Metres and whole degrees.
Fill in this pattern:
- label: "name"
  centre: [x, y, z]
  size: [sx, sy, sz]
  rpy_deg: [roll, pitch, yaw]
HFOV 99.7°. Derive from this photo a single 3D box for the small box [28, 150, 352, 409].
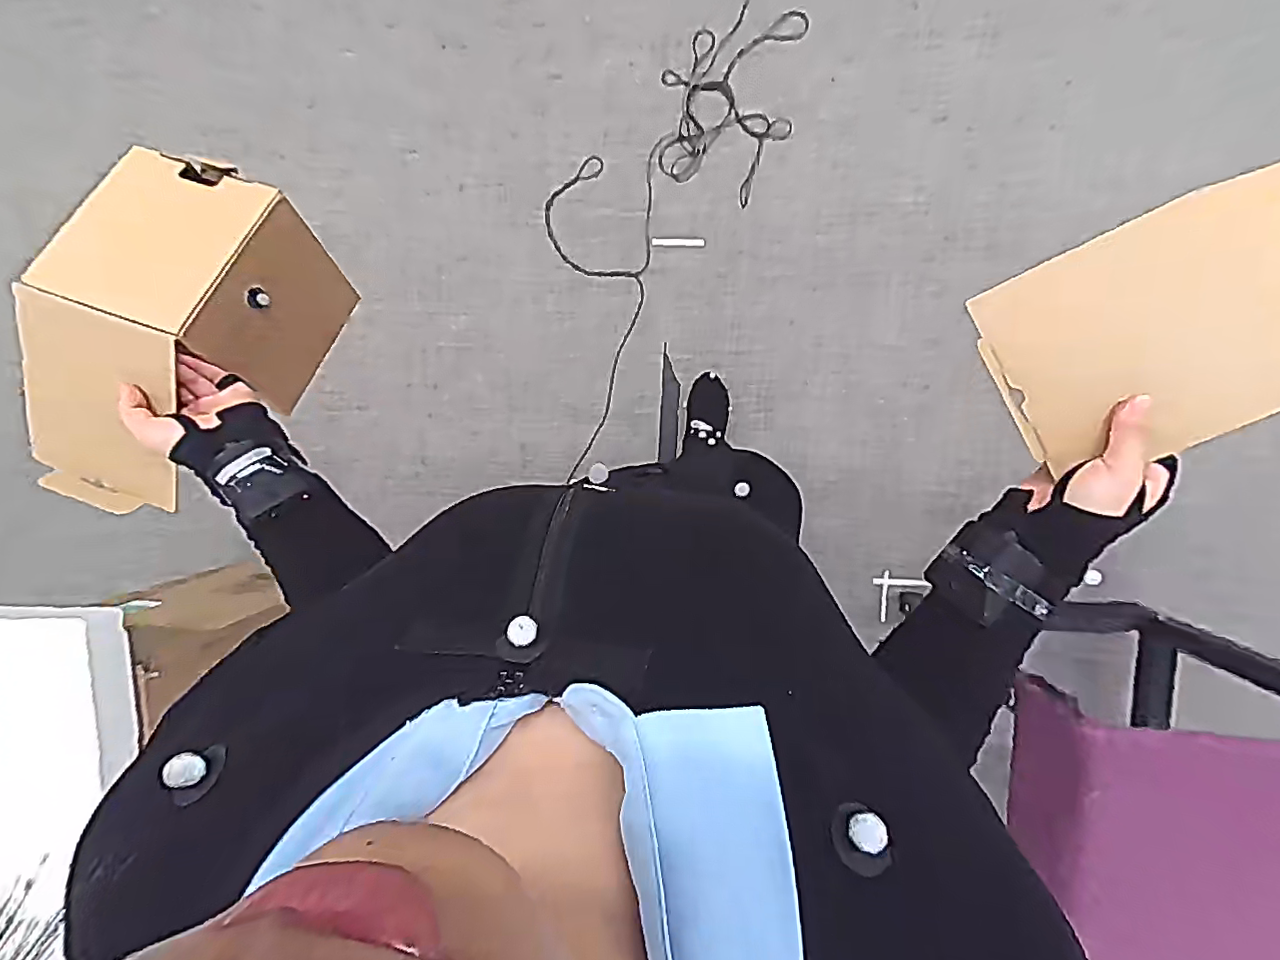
- label: "small box"
  centre: [-0.451, -0.201, 0.581]
  size: [0.168, 0.176, 0.179]
  rpy_deg: [19, 71, 5]
